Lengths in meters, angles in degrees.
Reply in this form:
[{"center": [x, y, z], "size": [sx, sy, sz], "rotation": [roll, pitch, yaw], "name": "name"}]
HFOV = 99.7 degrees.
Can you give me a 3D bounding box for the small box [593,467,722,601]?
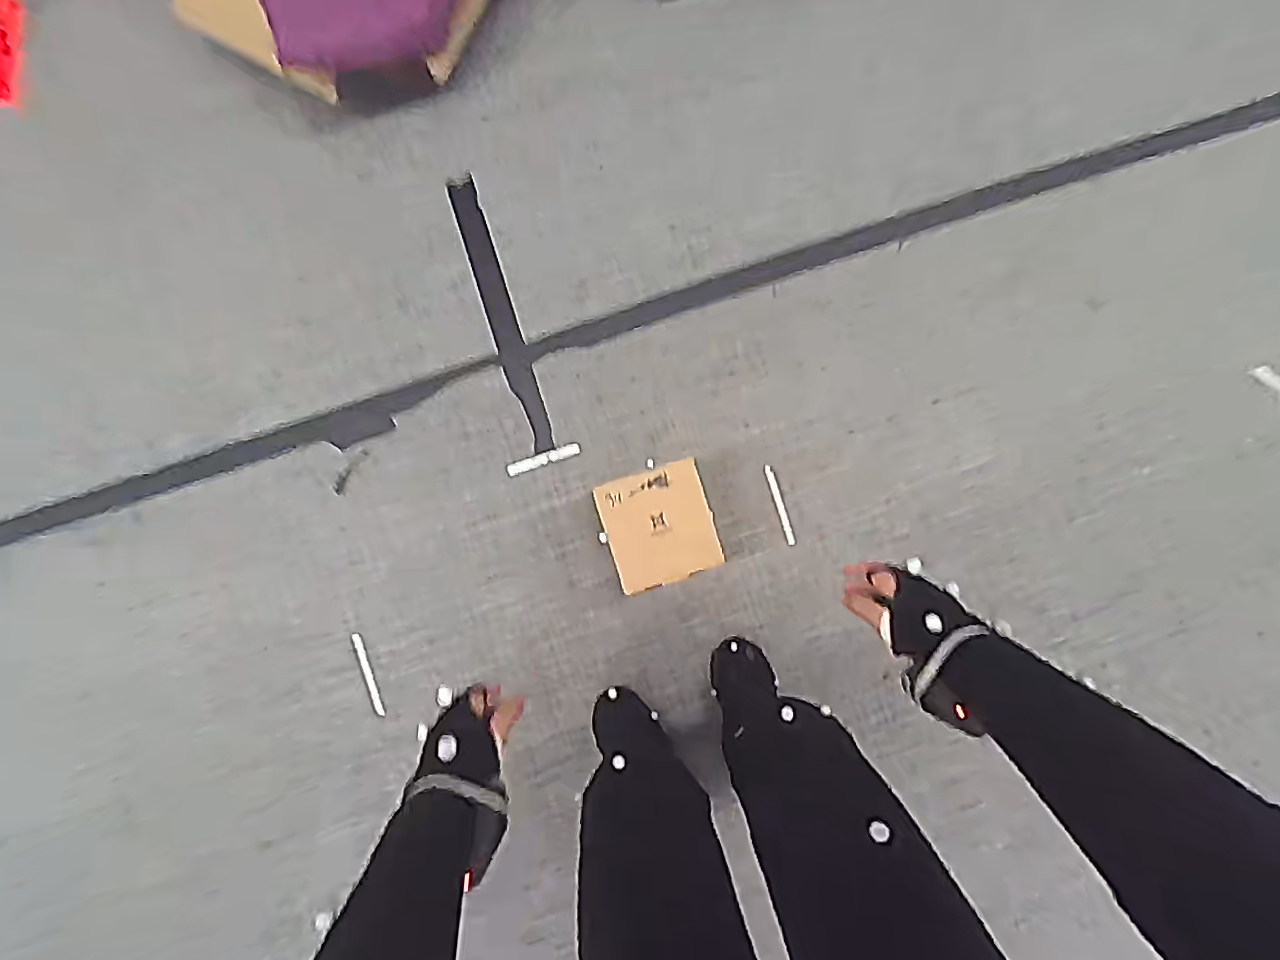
[{"center": [0.026, 0.083, 0.914], "size": [0.168, 0.176, 0.179], "rotation": [-17, 90, -3], "name": "small box"}]
